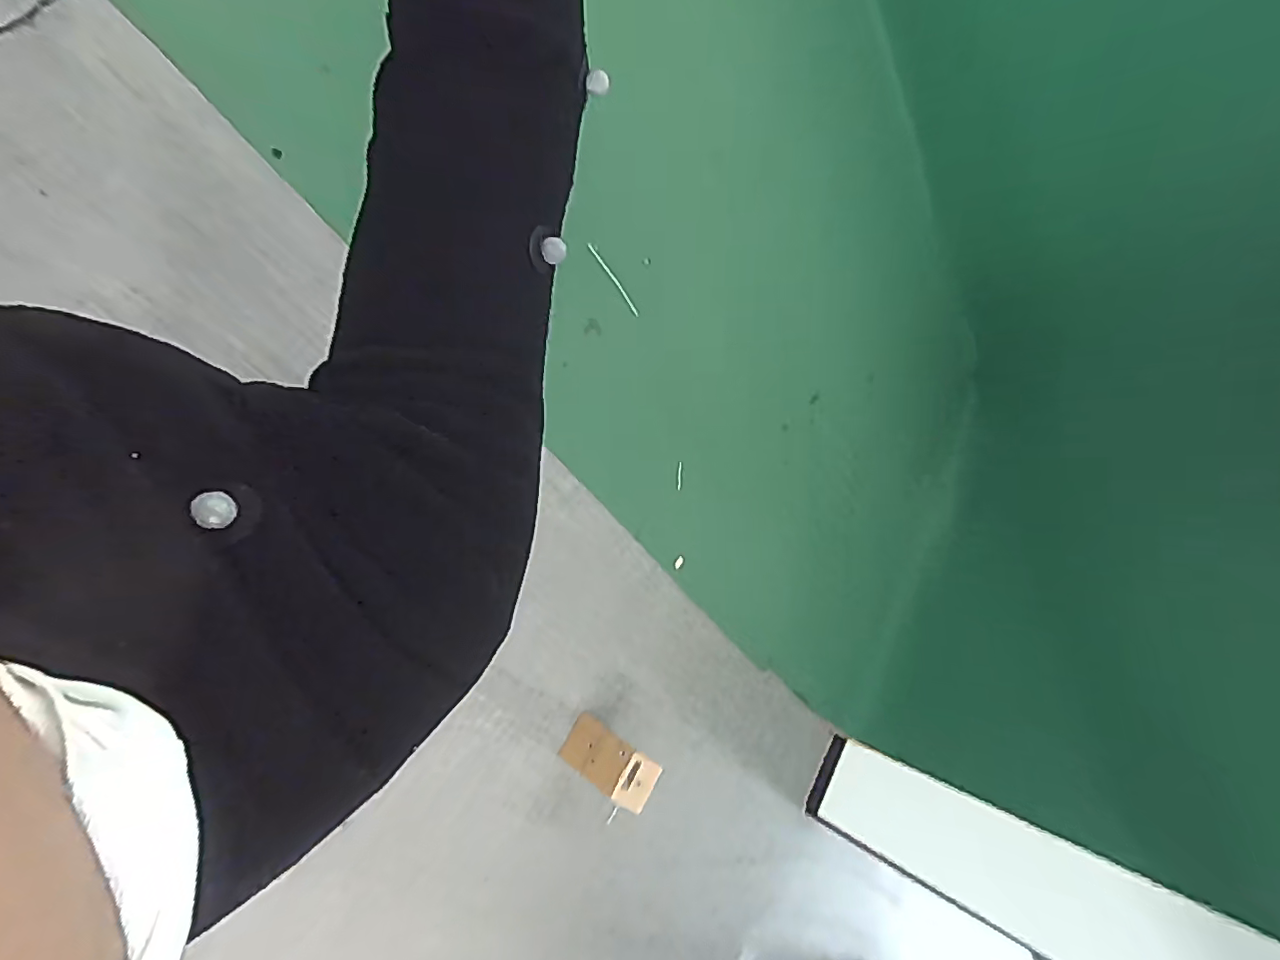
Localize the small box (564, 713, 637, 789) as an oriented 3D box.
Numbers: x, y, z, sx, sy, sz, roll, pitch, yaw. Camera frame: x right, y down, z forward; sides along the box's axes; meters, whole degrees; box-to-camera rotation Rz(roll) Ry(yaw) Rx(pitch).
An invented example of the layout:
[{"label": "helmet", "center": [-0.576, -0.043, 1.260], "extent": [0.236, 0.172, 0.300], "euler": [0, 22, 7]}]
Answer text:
[{"label": "small box", "center": [-0.150, 1.000, 2.010], "extent": [0.168, 0.176, 0.179], "euler": [47, 66, -32]}]
